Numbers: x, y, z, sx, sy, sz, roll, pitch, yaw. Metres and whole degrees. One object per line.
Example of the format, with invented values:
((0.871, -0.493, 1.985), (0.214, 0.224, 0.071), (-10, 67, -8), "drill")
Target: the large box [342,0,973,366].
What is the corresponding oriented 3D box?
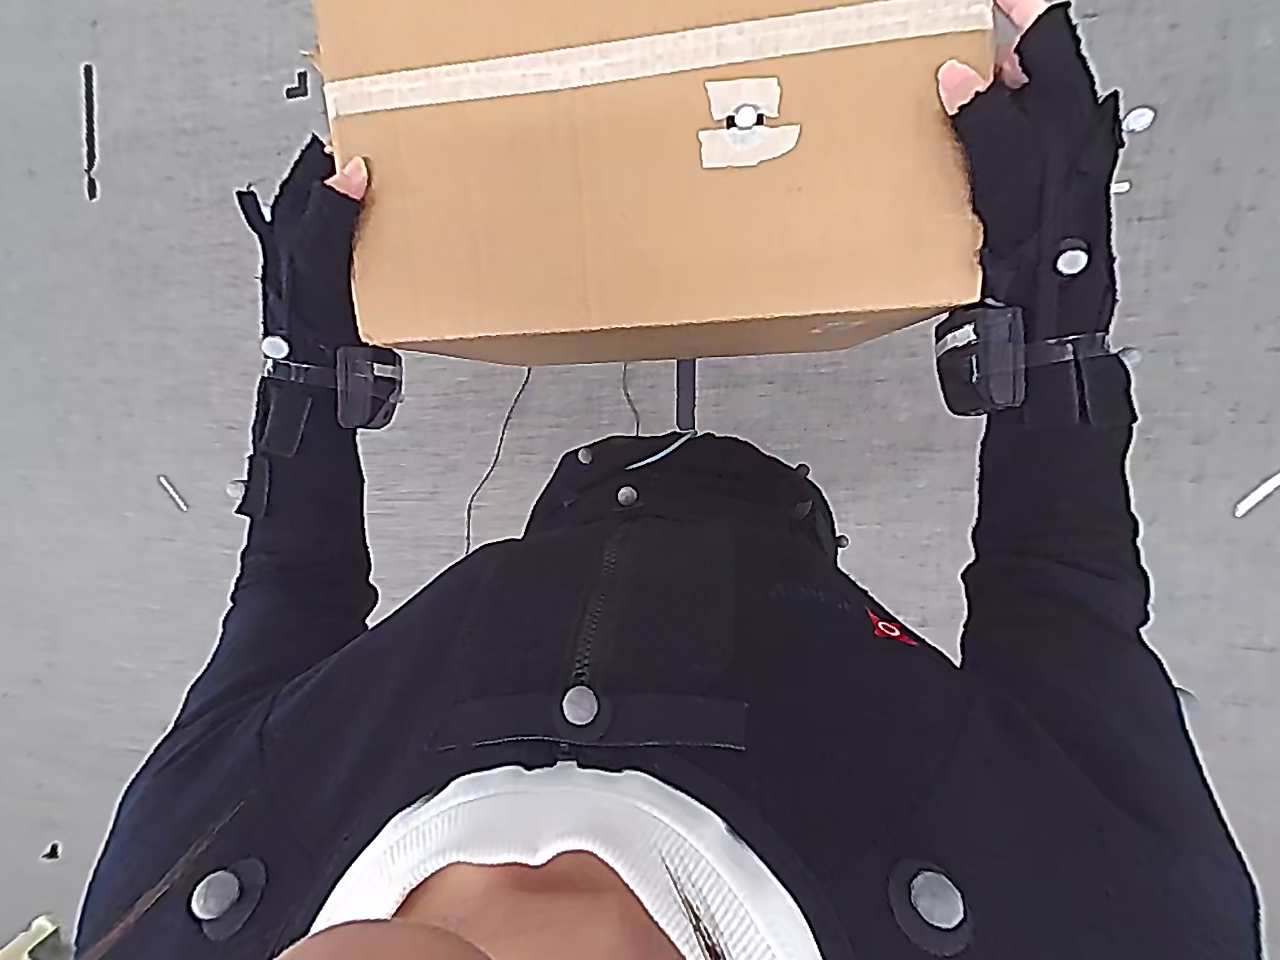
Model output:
((0.017, -0.284, 0.491), (0.408, 0.320, 0.320), (-2, 99, 7), "large box")
